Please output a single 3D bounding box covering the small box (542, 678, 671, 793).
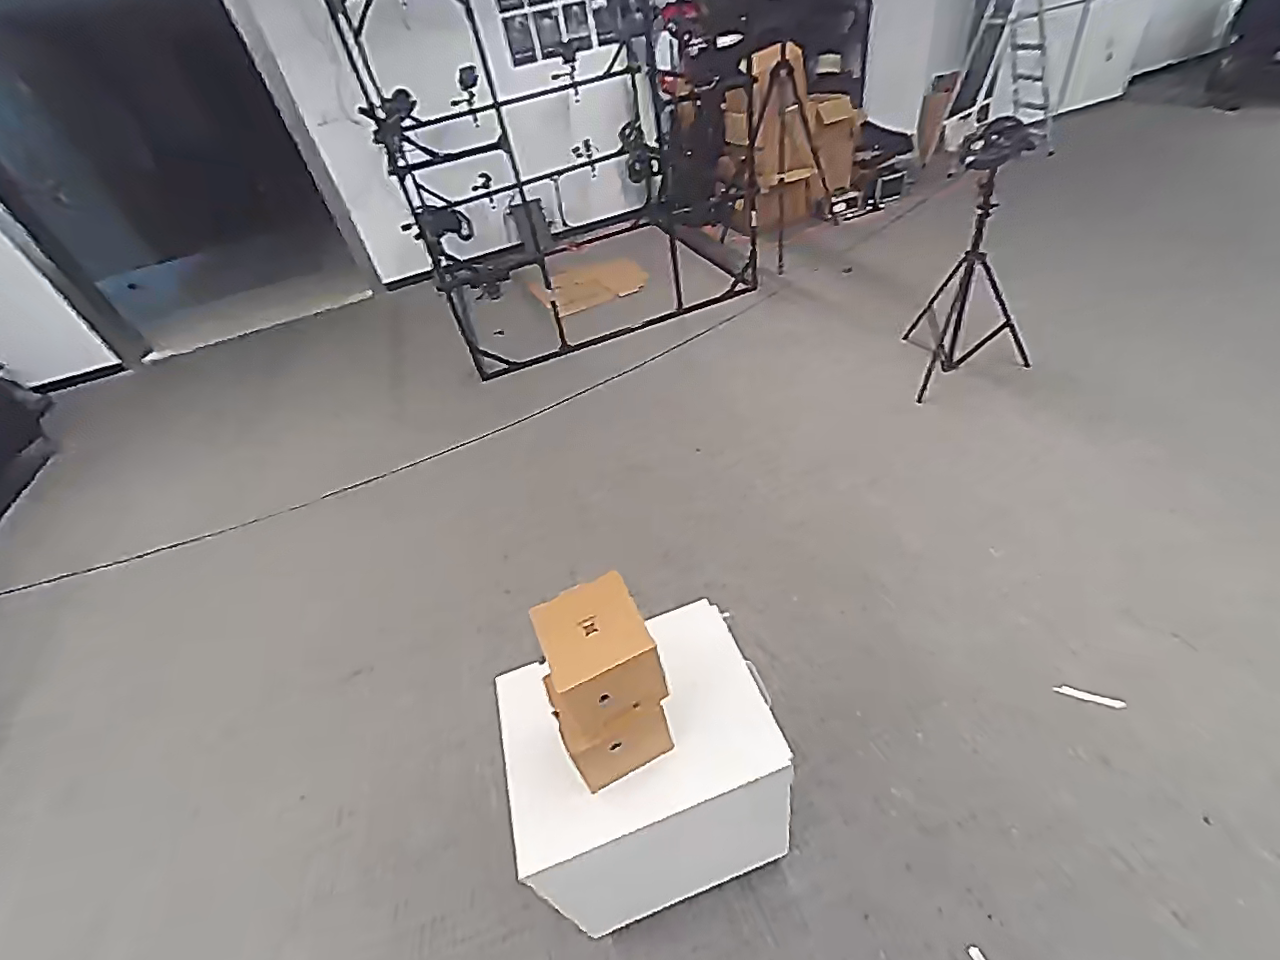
[{"bbox_3d":[-0.058,0.445,1.011,0.179,0.176,0.168,-23,41,-13],"label":"small box"}]

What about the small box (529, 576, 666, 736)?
[{"bbox_3d":[-0.069,0.305,0.923,0.168,0.176,0.179,-23,40,-12],"label":"small box"}]
